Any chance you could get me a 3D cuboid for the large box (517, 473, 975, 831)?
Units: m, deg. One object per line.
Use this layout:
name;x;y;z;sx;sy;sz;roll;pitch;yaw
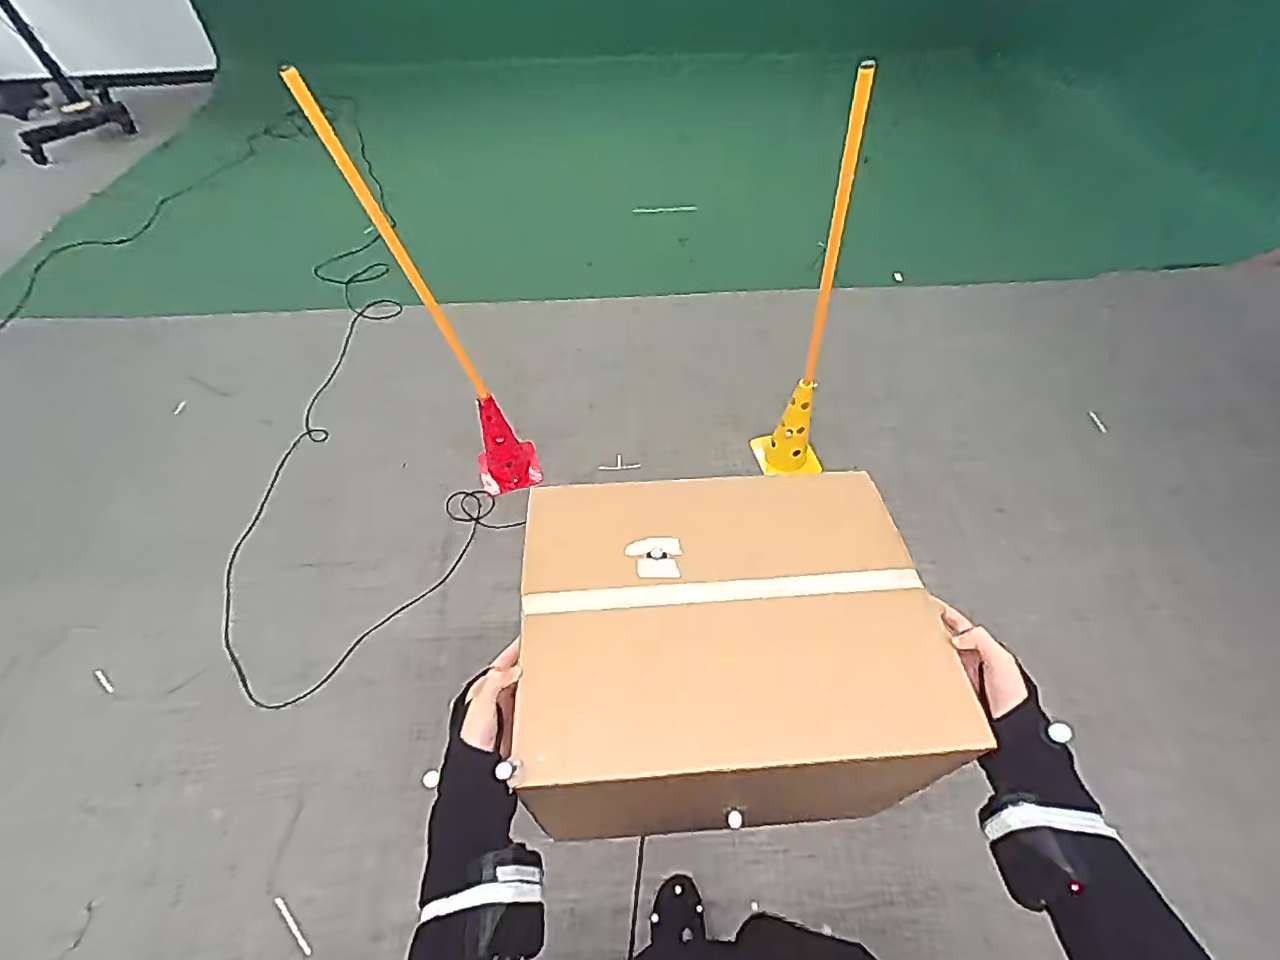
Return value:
large box;0.085;0.217;0.665;0.408;0.320;0.320;-3;49;-3
